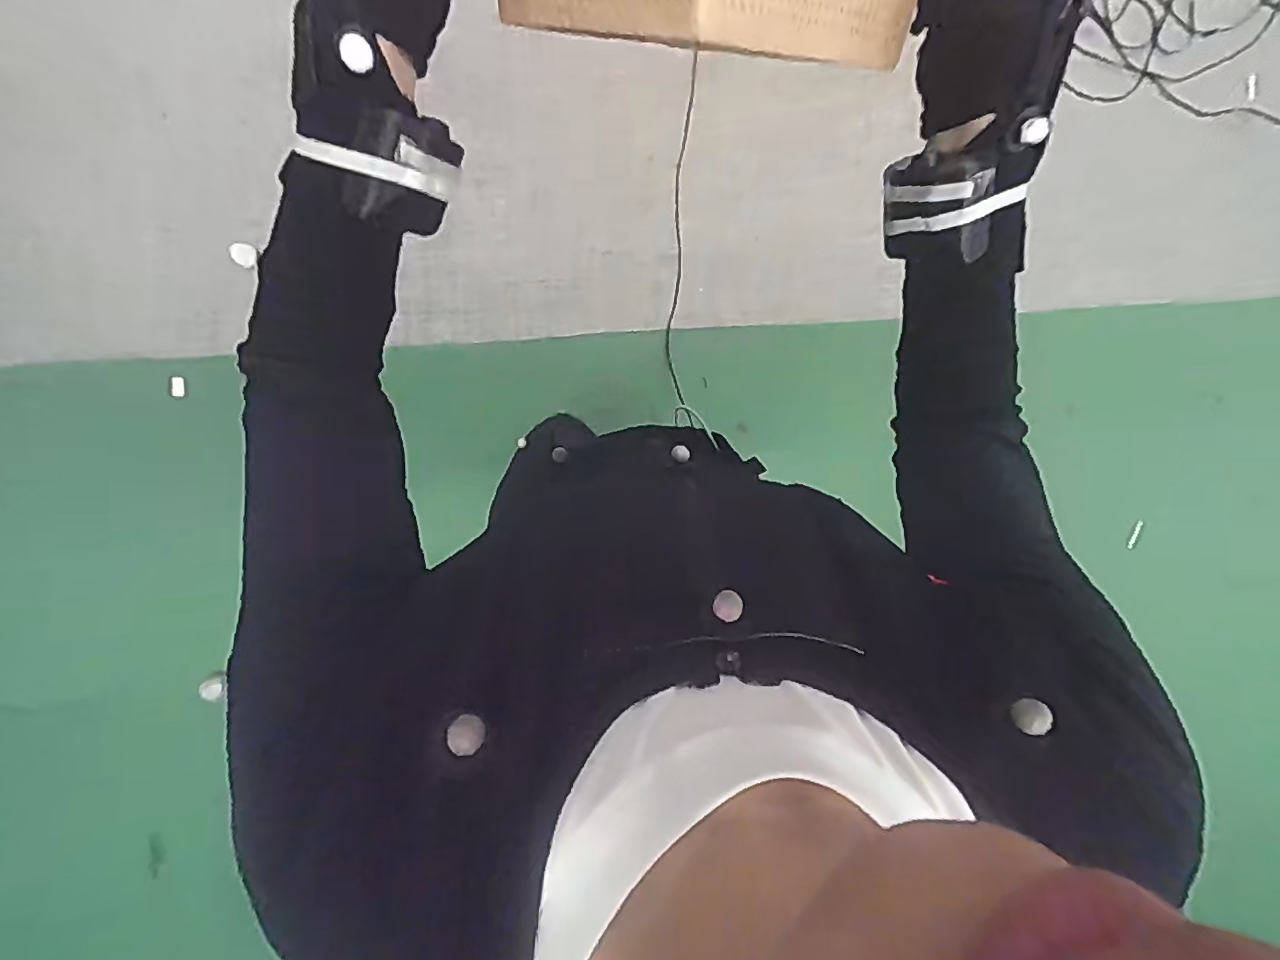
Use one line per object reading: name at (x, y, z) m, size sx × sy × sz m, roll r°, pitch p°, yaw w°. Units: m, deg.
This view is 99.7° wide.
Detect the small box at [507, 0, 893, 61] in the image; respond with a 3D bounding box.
small box at (0.040, -0.325, 0.274) m, size 0.179 × 0.168 × 0.176 m, roll -24°, pitch 137°, yaw -33°
